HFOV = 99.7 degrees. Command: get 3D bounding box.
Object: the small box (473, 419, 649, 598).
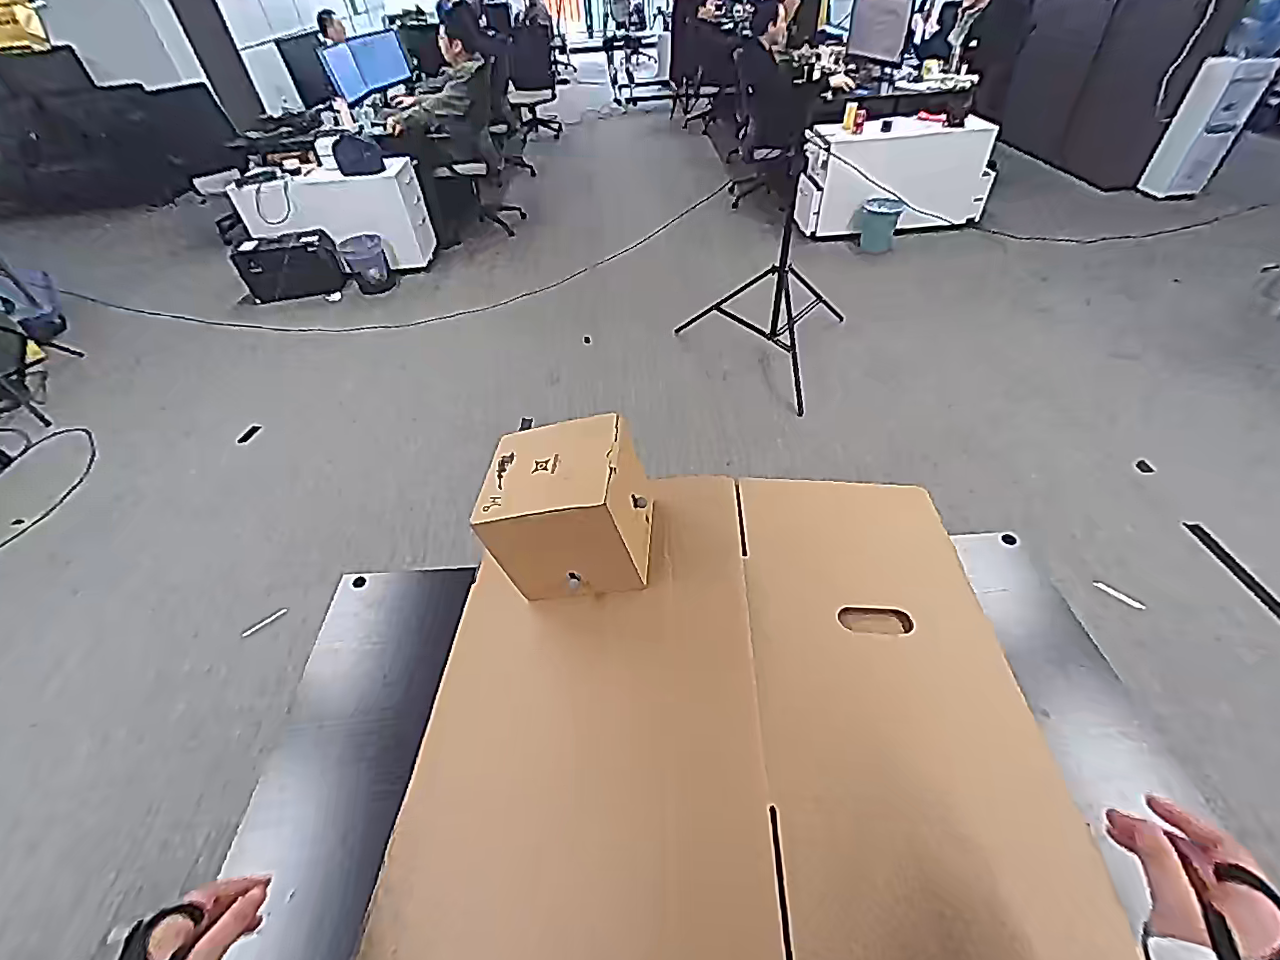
[{"bbox_3d":[-0.091,0.043,0.737,0.179,0.176,0.168,-9,43,13],"label":"small box"}]
